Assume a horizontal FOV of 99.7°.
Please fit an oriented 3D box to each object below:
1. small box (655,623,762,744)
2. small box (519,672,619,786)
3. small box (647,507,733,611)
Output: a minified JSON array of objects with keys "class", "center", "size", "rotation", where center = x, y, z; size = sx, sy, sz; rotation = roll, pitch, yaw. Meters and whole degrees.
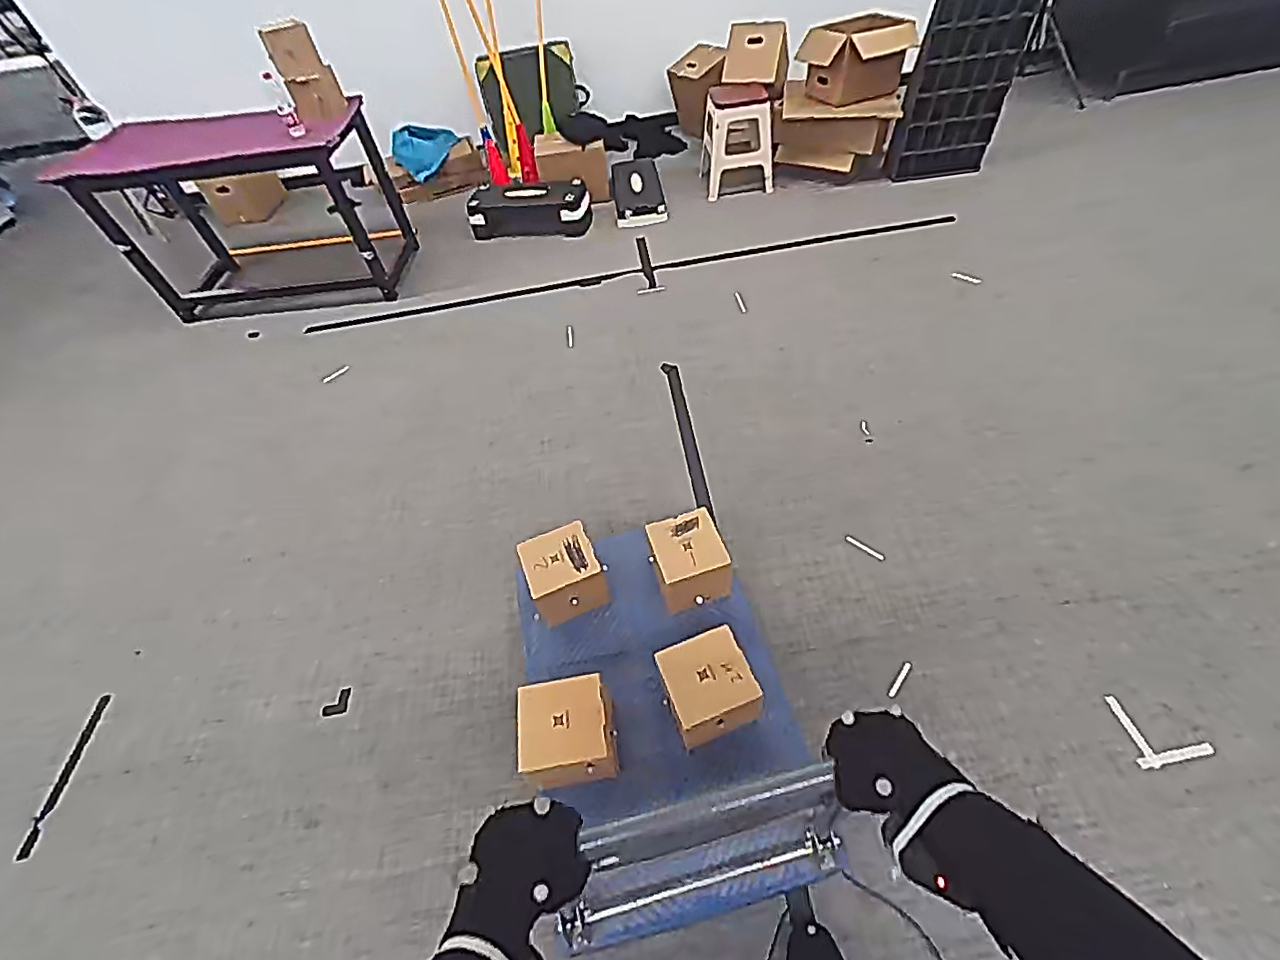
[{"class":"small box","center":[0.148,0.445,1.170],"size":[0.179,0.176,0.168],"rotation":[-20,51,-8]},{"class":"small box","center":[-0.148,0.530,1.145],"size":[0.179,0.176,0.168],"rotation":[-10,50,-2]},{"class":"small box","center":[0.124,0.201,1.371],"size":[0.168,0.176,0.179],"rotation":[-17,52,-6]}]
